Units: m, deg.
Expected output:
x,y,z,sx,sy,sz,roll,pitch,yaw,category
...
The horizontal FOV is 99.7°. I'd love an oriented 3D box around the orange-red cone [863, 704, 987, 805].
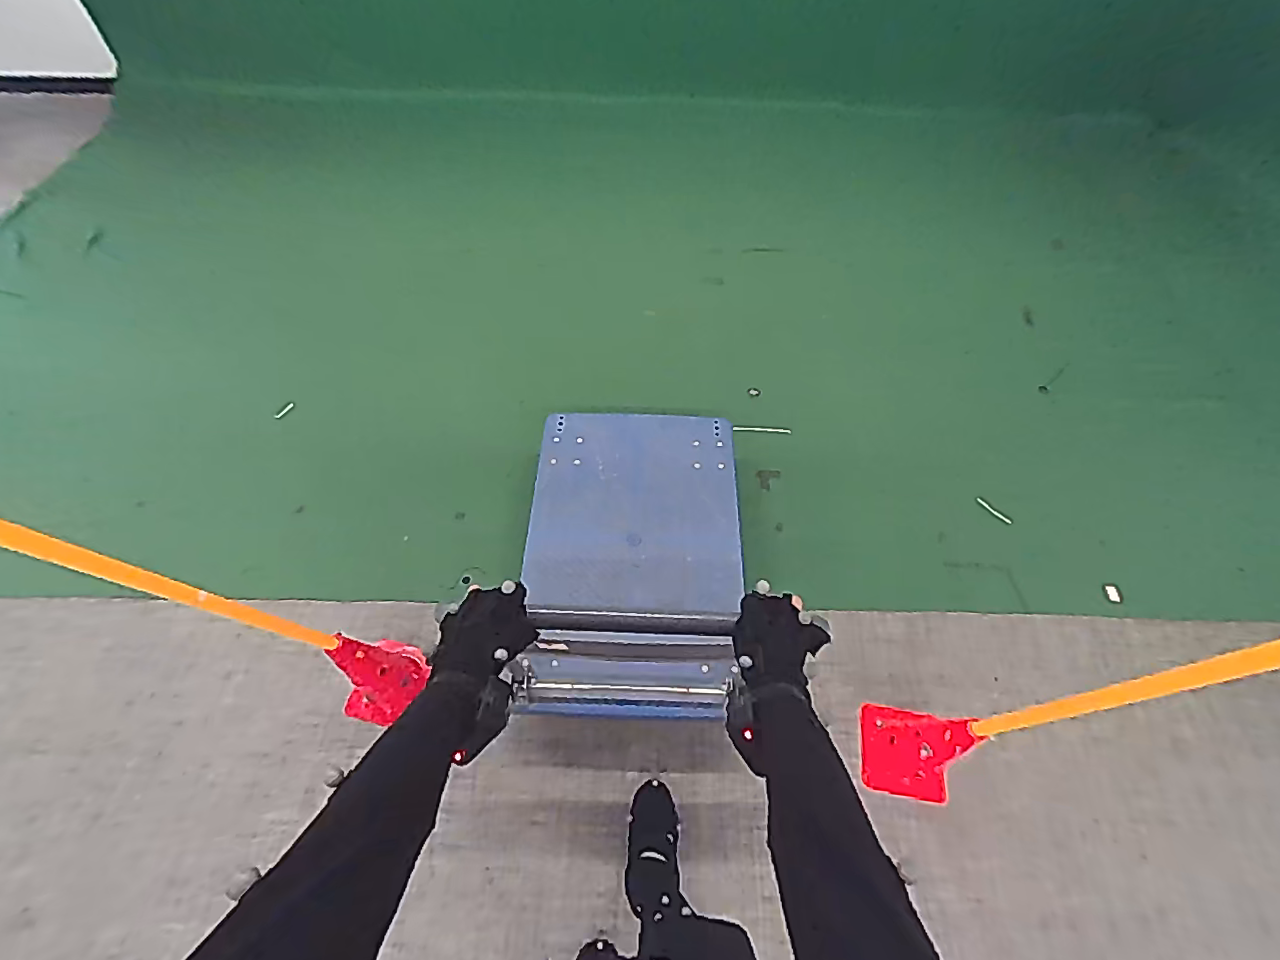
x,y,z,sx,sy,sz,roll,pitch,yaw,category
0.648,0.575,1.182,0.198,0.360,0.199,10,58,7,orange-red cone
